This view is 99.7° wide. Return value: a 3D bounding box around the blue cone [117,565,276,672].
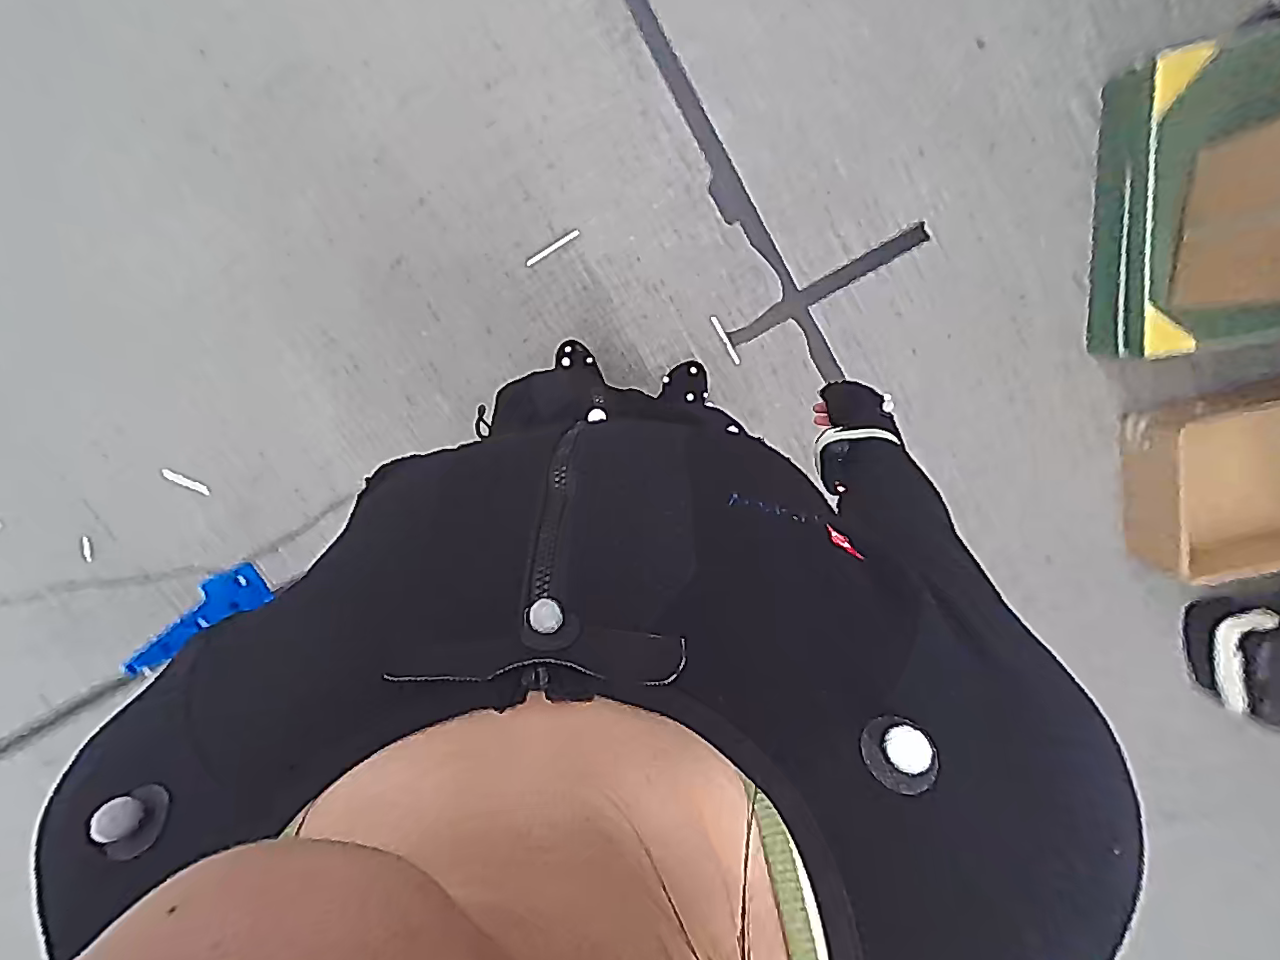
[{"bbox_3d":[-1.230,0.404,1.473,0.192,0.380,0.193,-25,101,10],"label":"blue cone"}]
